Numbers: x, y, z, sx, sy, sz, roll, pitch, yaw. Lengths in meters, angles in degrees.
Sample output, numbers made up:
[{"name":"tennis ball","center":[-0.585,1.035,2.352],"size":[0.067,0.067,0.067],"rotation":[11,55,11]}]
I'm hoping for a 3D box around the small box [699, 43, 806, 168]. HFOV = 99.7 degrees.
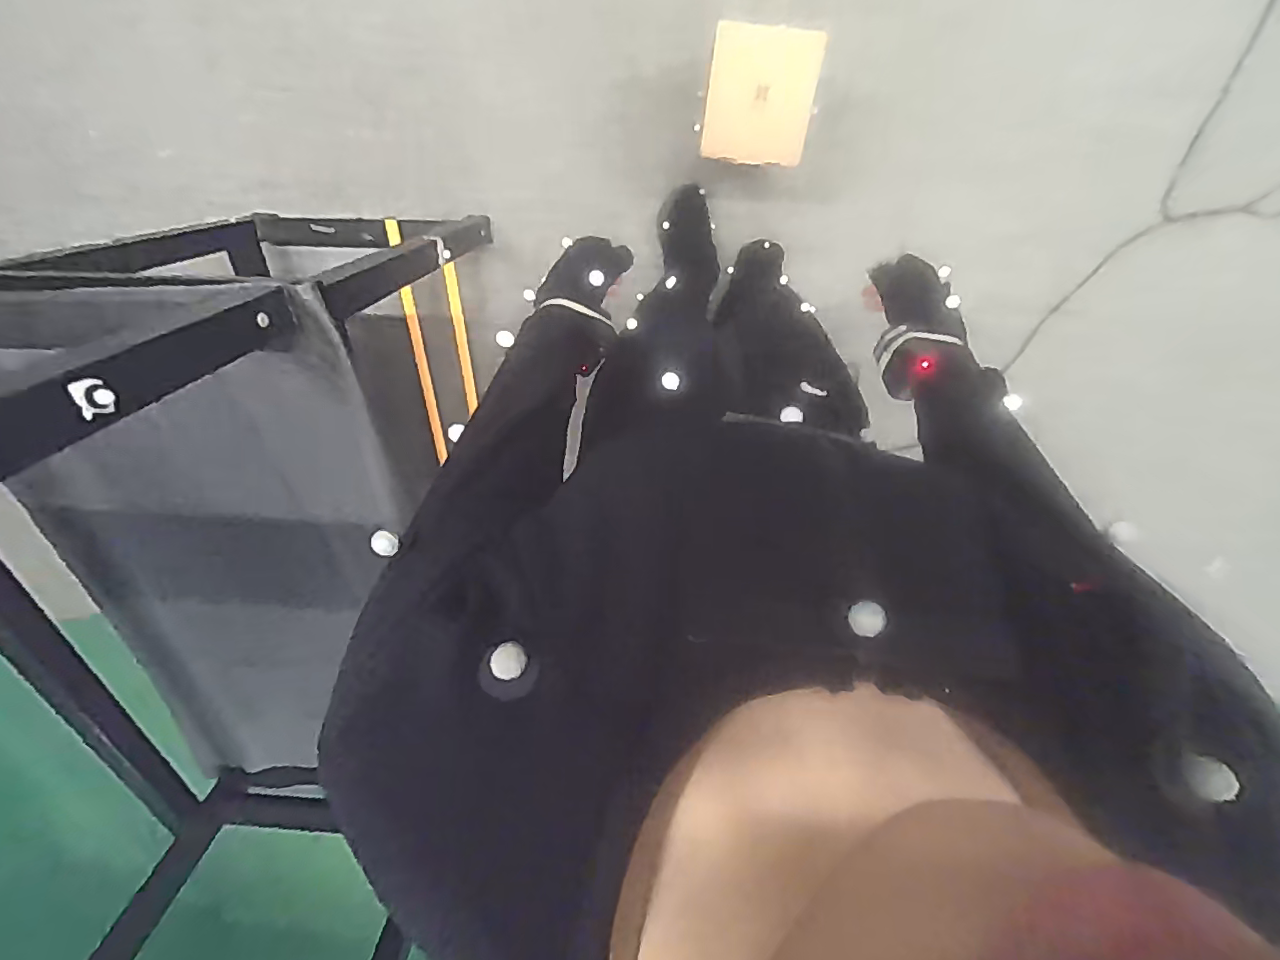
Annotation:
[{"name":"small box","center":[0.208,-0.720,1.055],"size":[0.168,0.176,0.179],"rotation":[8,121,2]}]
